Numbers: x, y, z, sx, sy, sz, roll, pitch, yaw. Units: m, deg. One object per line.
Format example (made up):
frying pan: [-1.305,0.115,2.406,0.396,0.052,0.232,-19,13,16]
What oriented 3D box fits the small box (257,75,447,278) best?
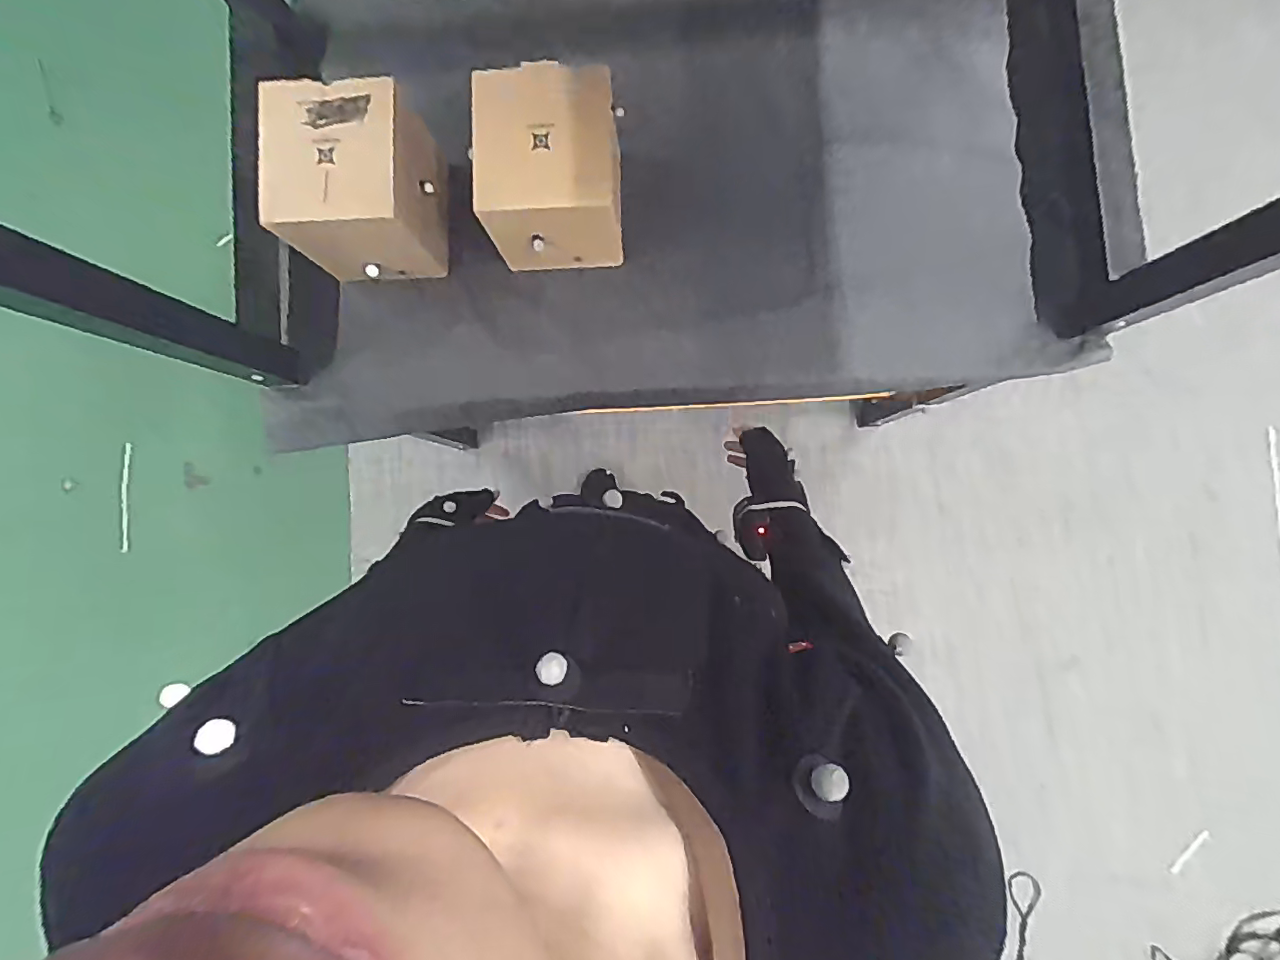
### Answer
small box: [-0.369,-0.390,0.721,0.168,0.176,0.179,-2,88,2]

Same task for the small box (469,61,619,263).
small box: [-0.117,-0.402,0.716,0.168,0.176,0.179,-2,87,1]
